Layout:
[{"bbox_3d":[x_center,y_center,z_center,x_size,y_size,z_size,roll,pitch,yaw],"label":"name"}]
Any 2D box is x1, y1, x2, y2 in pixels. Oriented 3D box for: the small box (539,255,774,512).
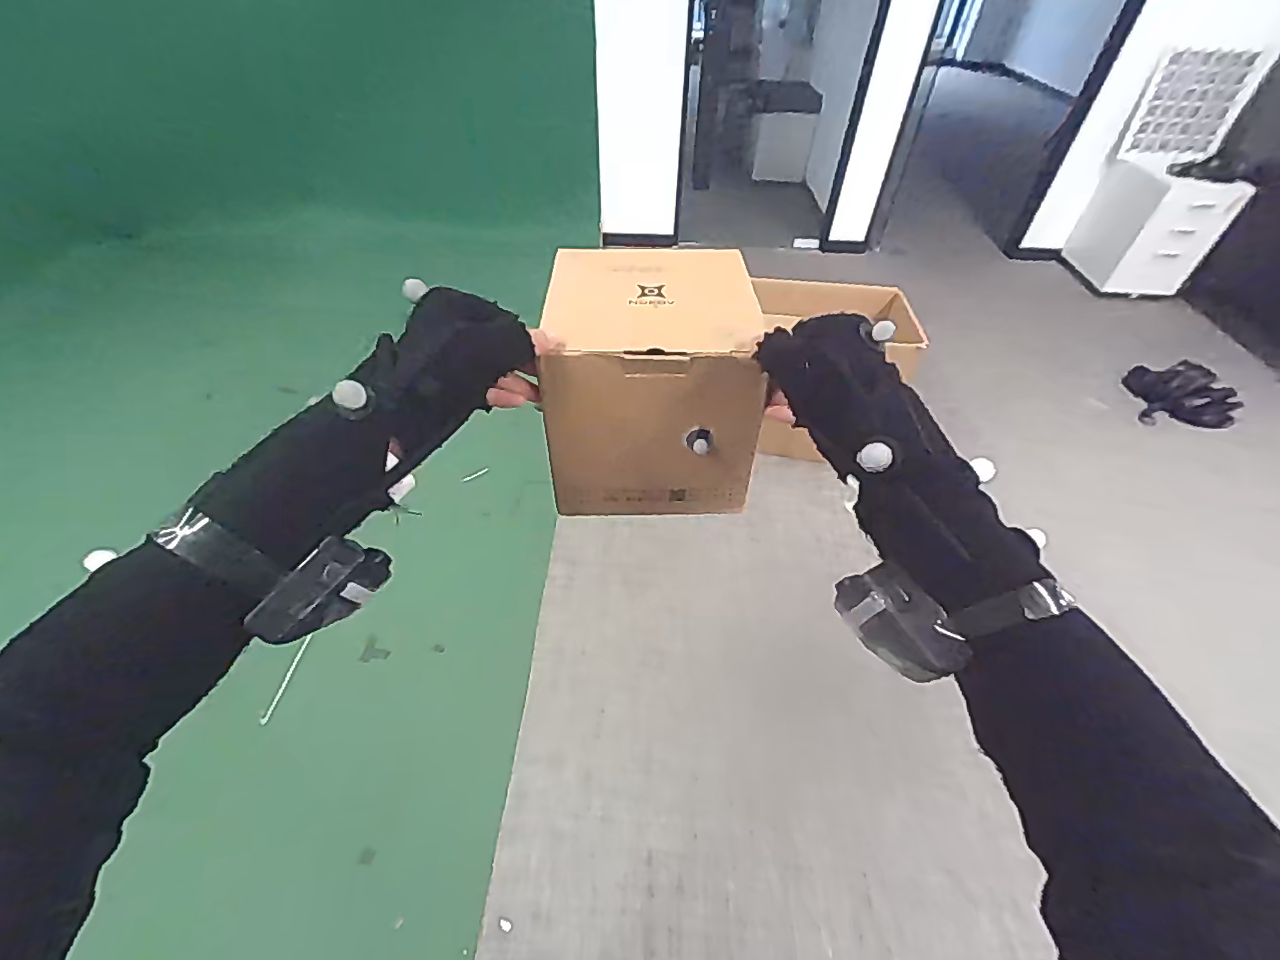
[{"bbox_3d":[0.010,-0.085,0.483,0.168,0.176,0.179,0,43,-2],"label":"small box"}]
